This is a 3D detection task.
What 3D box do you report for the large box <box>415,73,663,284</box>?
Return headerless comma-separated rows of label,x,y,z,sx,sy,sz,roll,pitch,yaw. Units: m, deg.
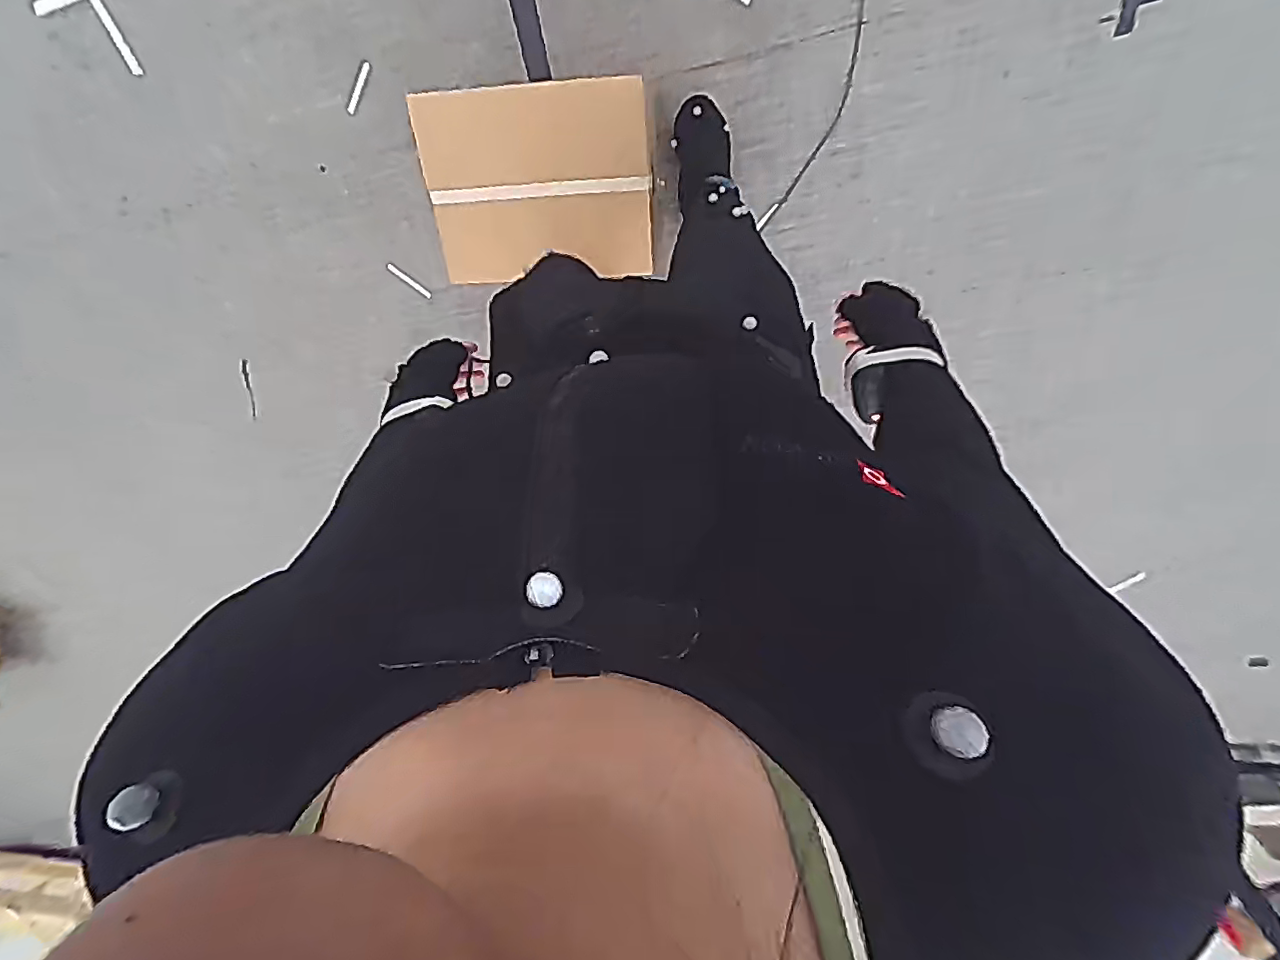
large box,-0.165,-0.604,1.094,0.408,0.320,0.320,-1,125,5
